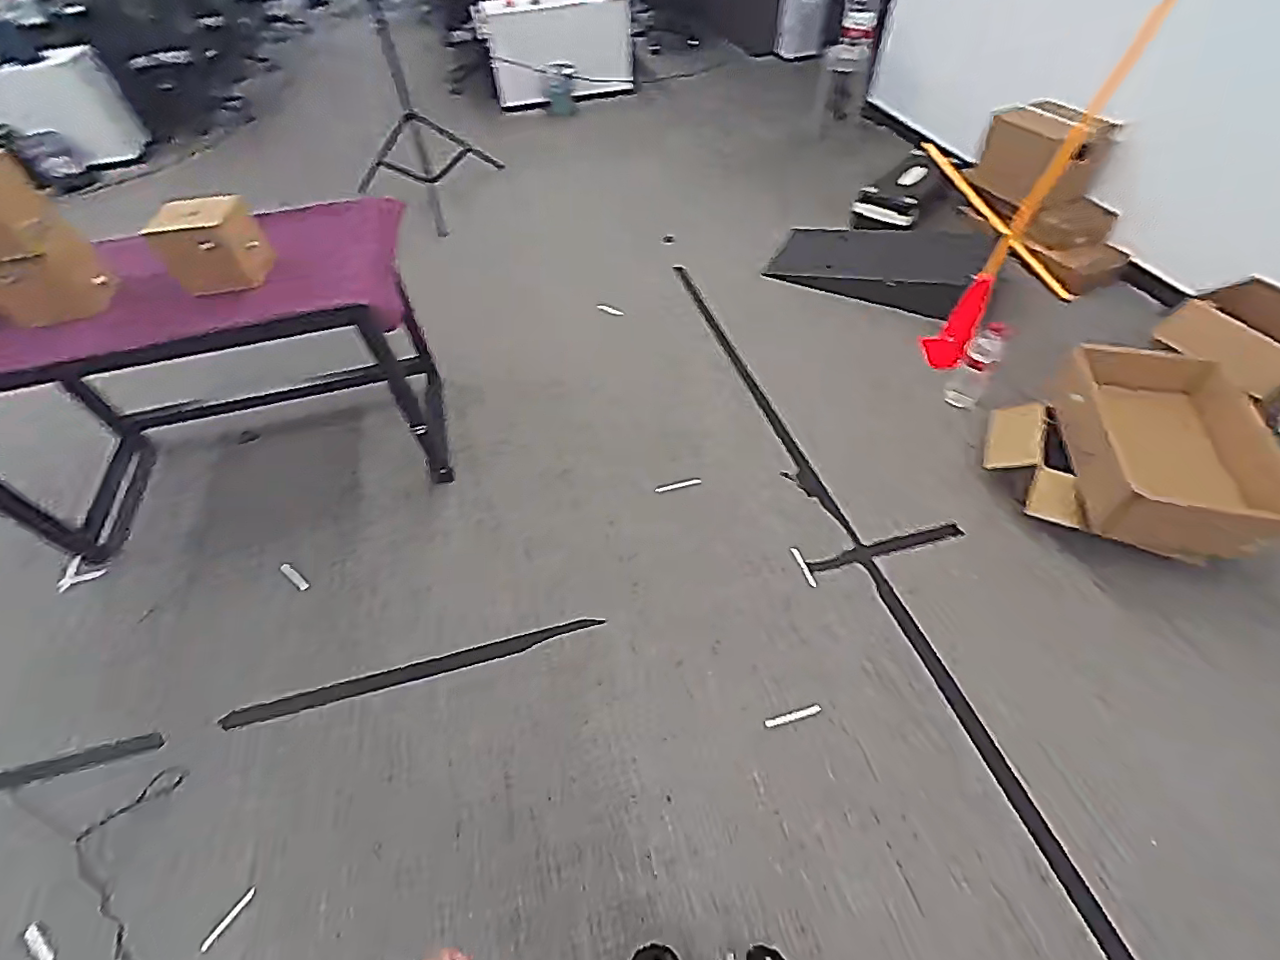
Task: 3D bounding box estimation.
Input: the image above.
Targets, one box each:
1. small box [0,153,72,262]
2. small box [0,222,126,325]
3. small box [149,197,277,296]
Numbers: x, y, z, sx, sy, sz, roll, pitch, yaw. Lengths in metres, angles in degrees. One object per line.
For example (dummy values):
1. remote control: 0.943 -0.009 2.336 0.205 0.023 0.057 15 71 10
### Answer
1. small box: -1.451 -0.596 1.201 0.179 0.176 0.168 -13 53 -9
2. small box: -1.447 -0.505 1.335 0.179 0.176 0.168 -15 52 -10
3. small box: -1.079 -0.597 1.388 0.179 0.176 0.168 -8 51 -3
